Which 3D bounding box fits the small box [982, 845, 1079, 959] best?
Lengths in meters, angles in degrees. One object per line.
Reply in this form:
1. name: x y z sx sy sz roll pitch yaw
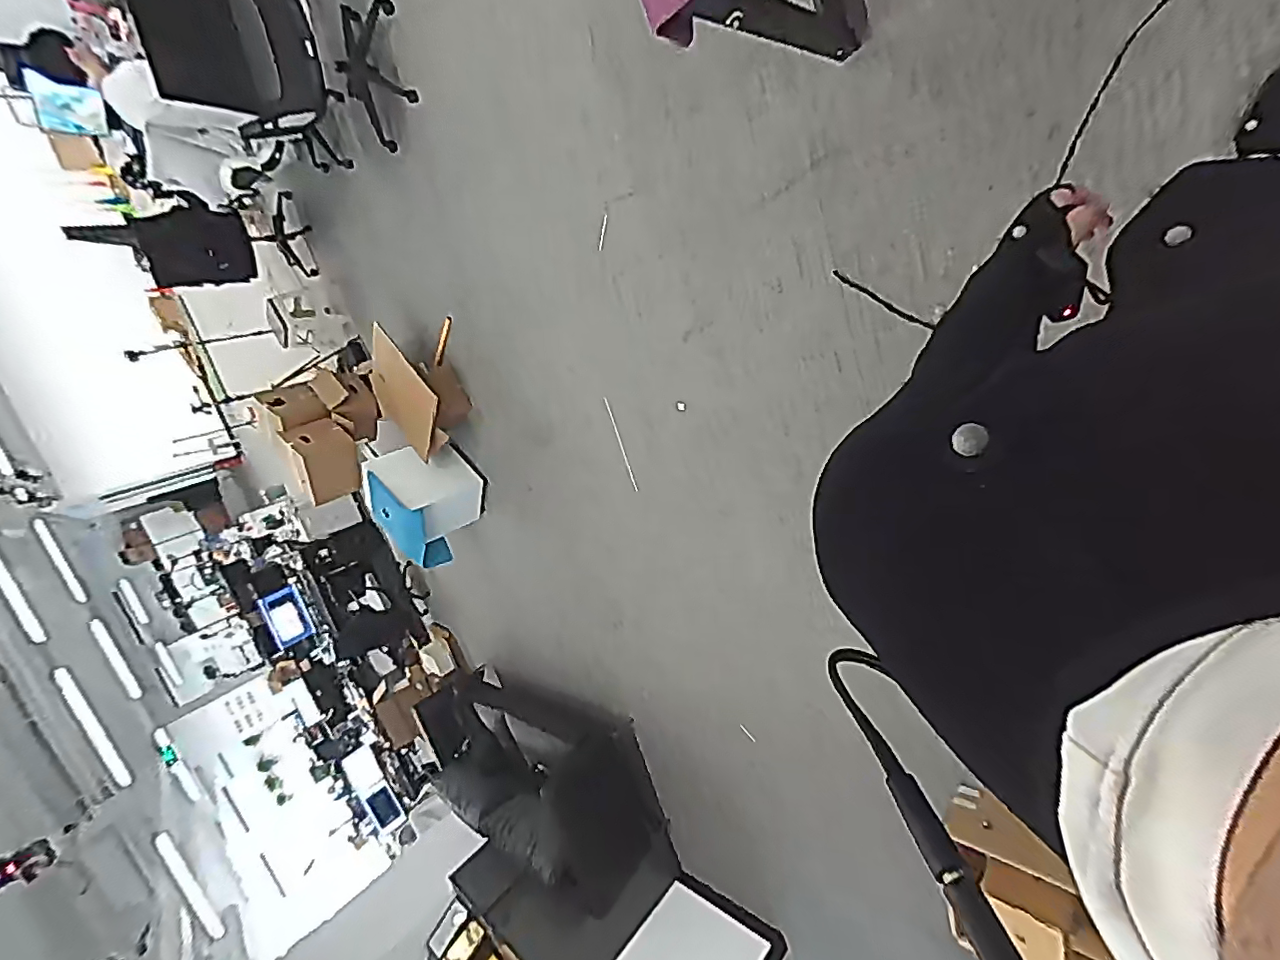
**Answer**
1. small box: 0.961 1.060 1.328 0.168 0.176 0.179 2 112 46
